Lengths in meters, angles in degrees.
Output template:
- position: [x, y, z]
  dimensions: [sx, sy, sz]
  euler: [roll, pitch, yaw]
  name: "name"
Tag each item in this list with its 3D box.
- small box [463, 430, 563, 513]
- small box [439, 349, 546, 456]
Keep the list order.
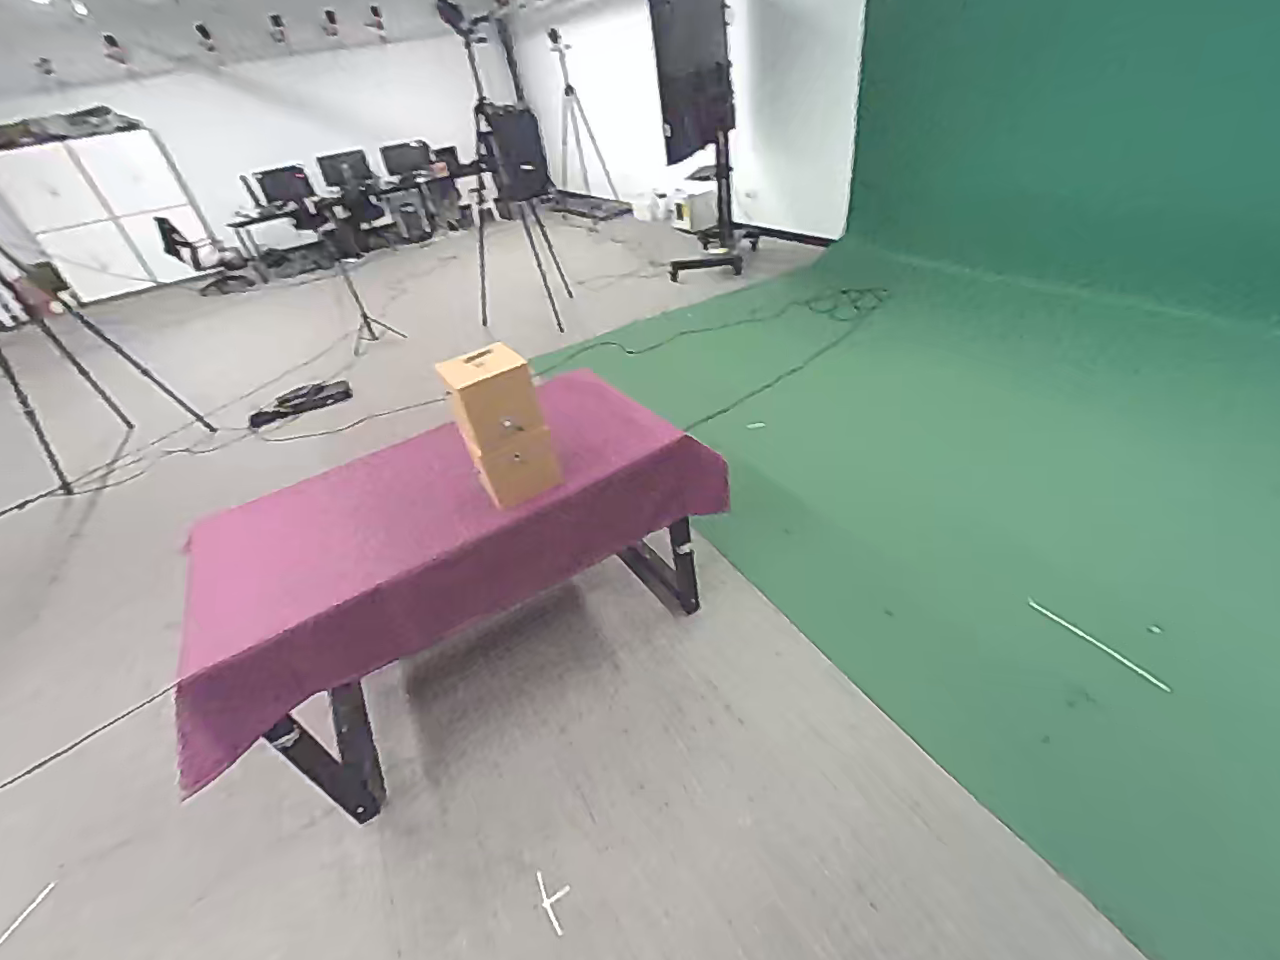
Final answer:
- position: [-0.312, -0.046, 1.347]
  dimensions: [0.179, 0.176, 0.168]
  euler: [-25, 39, -19]
  name: "small box"
- position: [-0.341, -0.181, 1.257]
  dimensions: [0.168, 0.176, 0.179]
  euler: [-27, 40, -21]
  name: "small box"
